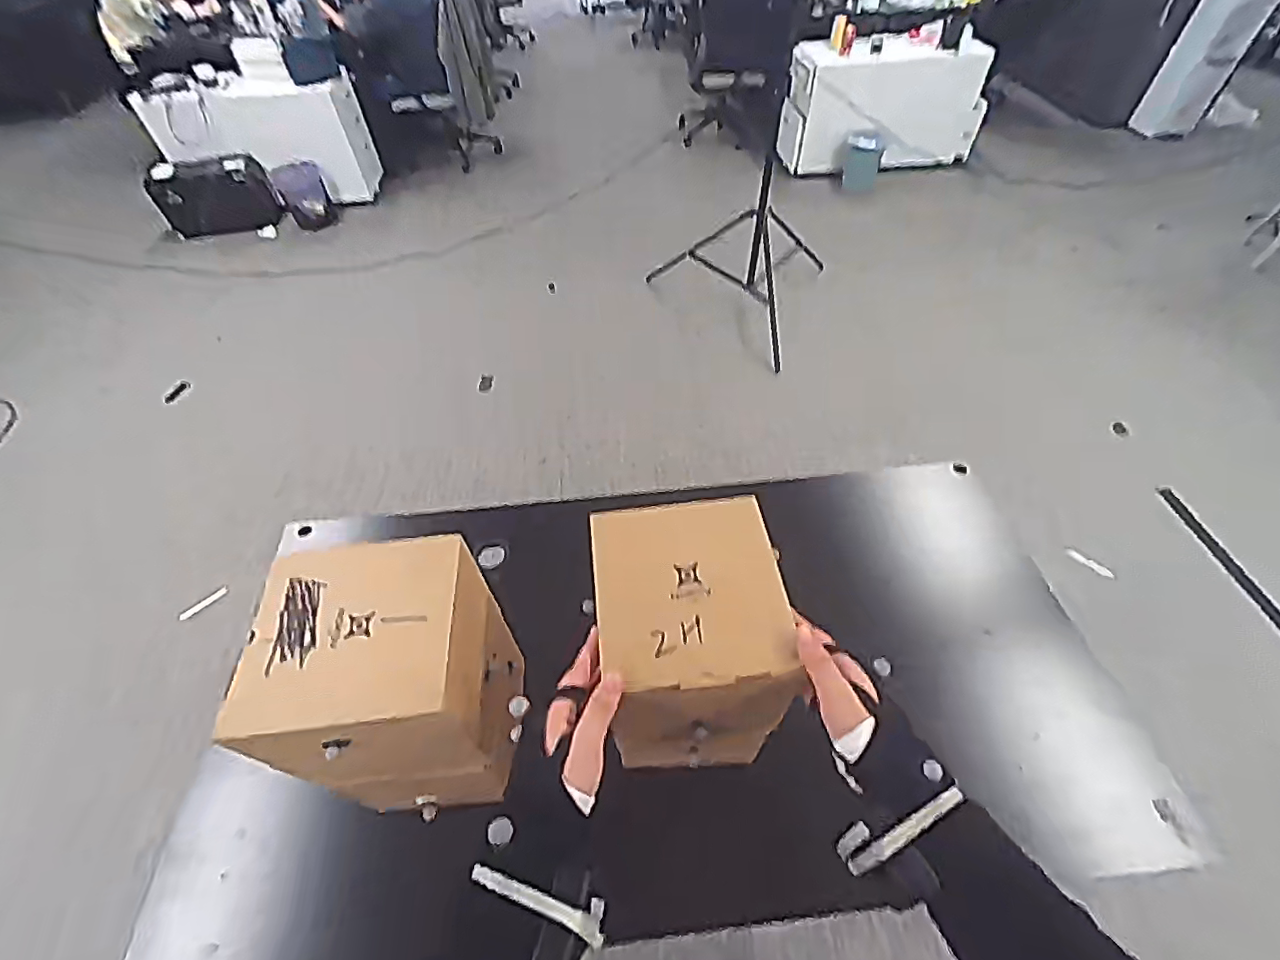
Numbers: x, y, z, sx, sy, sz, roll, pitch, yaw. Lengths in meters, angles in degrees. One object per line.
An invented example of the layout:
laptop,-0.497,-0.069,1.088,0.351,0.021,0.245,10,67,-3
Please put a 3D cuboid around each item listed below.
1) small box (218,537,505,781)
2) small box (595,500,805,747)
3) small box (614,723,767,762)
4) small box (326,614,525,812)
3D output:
small box,-0.241,0.177,0.525,0.179,0.176,0.168,-6,50,-3
small box,0.045,0.144,0.539,0.168,0.176,0.179,-6,50,-2
small box,0.055,0.242,0.675,0.168,0.176,0.179,-2,51,0
small box,-0.238,0.281,0.653,0.168,0.176,0.179,-6,51,-2
